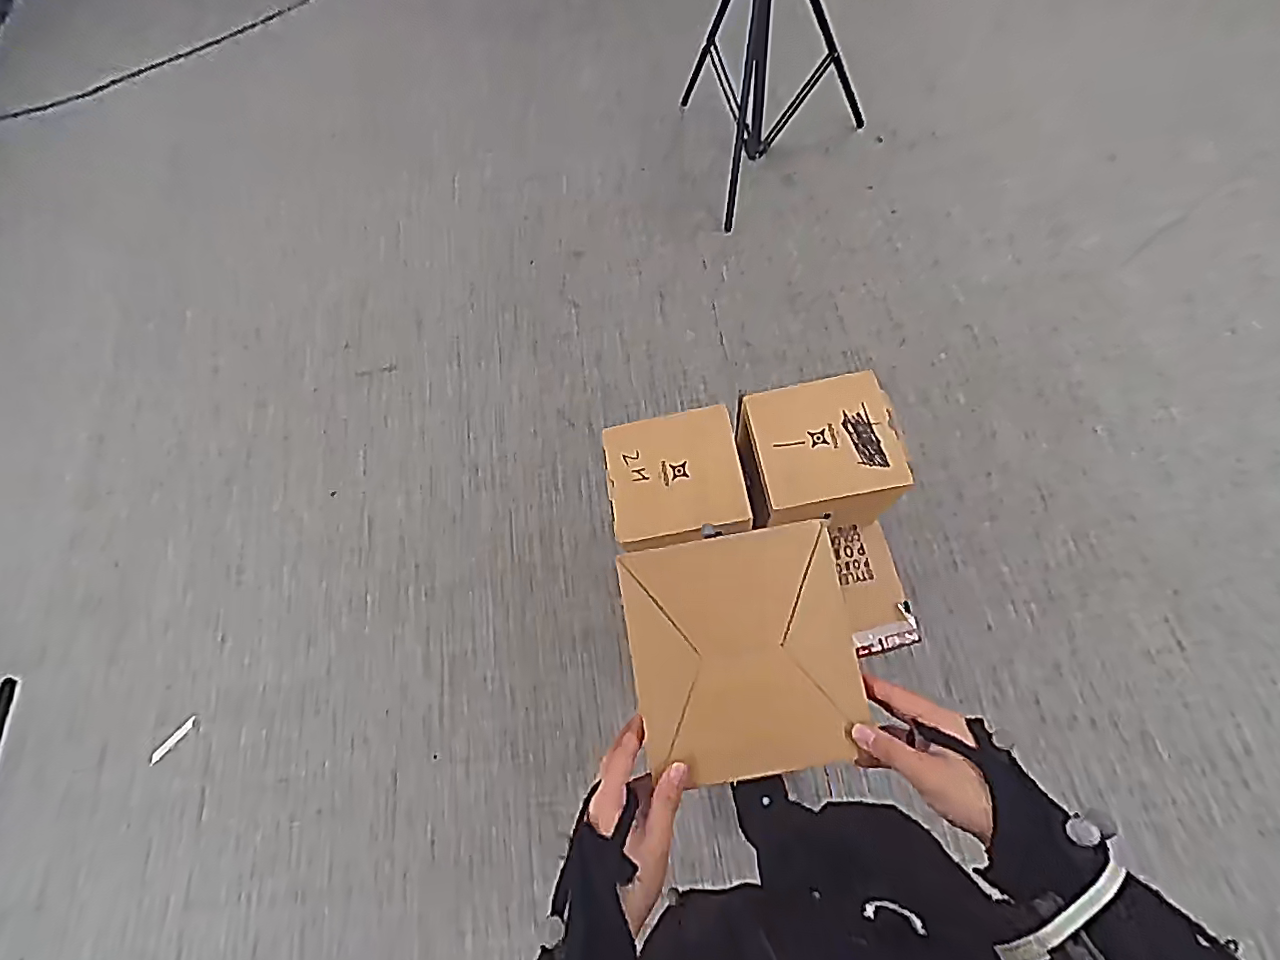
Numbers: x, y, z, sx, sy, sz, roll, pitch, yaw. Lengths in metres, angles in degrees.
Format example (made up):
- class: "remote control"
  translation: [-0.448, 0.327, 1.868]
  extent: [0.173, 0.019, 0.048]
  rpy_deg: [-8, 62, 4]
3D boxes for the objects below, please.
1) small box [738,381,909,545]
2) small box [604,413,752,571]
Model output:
- class: "small box"
  translation: [0.243, -0.016, 0.769]
  extent: [0.179, 0.176, 0.168]
  rpy_deg: [-11, 69, 3]
- class: "small box"
  translation: [0.057, 0.026, 0.779]
  extent: [0.179, 0.176, 0.168]
  rpy_deg: [-11, 68, 7]
